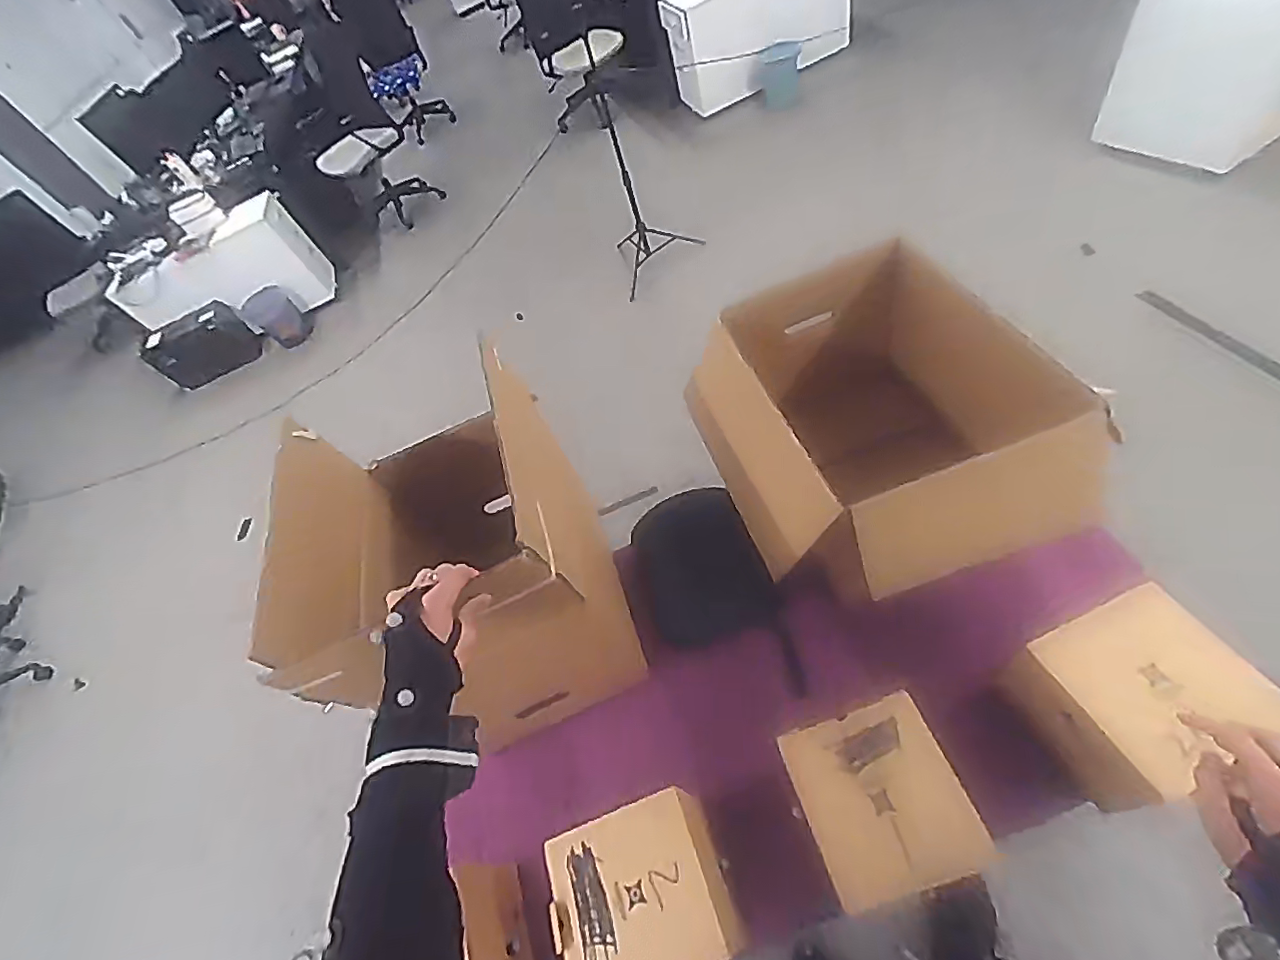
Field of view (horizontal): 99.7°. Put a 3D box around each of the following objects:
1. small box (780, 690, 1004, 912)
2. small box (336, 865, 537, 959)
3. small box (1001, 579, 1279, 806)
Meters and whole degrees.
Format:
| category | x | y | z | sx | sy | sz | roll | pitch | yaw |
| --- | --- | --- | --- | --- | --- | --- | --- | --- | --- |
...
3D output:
| category | x | y | z | sx | sy | sz | roll | pitch | yaw |
| --- | --- | --- | --- | --- | --- | --- | --- | --- | --- |
| small box | 0.282 | 0.382 | 0.648 | 0.168 | 0.176 | 0.179 | -23 | 53 | 4 |
| small box | -0.248 | 0.616 | 0.680 | 0.179 | 0.176 | 0.168 | -27 | 52 | -1 |
| small box | 0.567 | 0.252 | 0.631 | 0.168 | 0.176 | 0.179 | -28 | 52 | 1 |
